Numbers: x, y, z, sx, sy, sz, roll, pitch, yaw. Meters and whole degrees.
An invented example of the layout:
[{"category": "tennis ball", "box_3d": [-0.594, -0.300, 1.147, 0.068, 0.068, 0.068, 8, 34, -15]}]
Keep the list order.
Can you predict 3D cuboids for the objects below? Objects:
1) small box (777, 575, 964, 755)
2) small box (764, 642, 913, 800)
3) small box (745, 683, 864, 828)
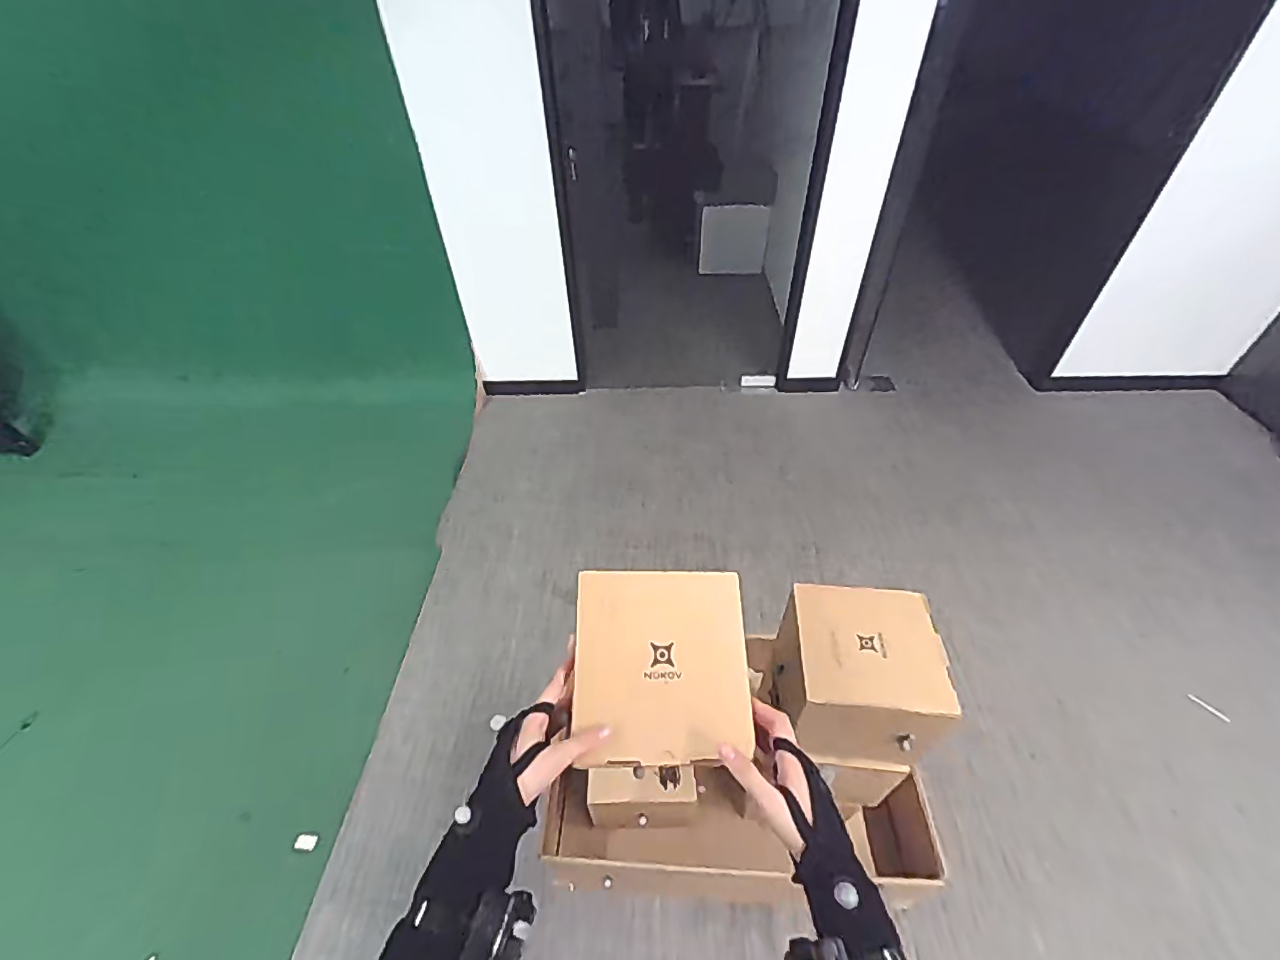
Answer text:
[{"category": "small box", "box_3d": [0.287, 0.248, 0.719, 0.179, 0.176, 0.168, 3, 44, 6]}, {"category": "small box", "box_3d": [0.286, 0.370, 0.827, 0.179, 0.176, 0.168, 4, 45, 6]}, {"category": "small box", "box_3d": [0.277, 0.484, 0.945, 0.168, 0.176, 0.179, 5, 45, 7]}]
